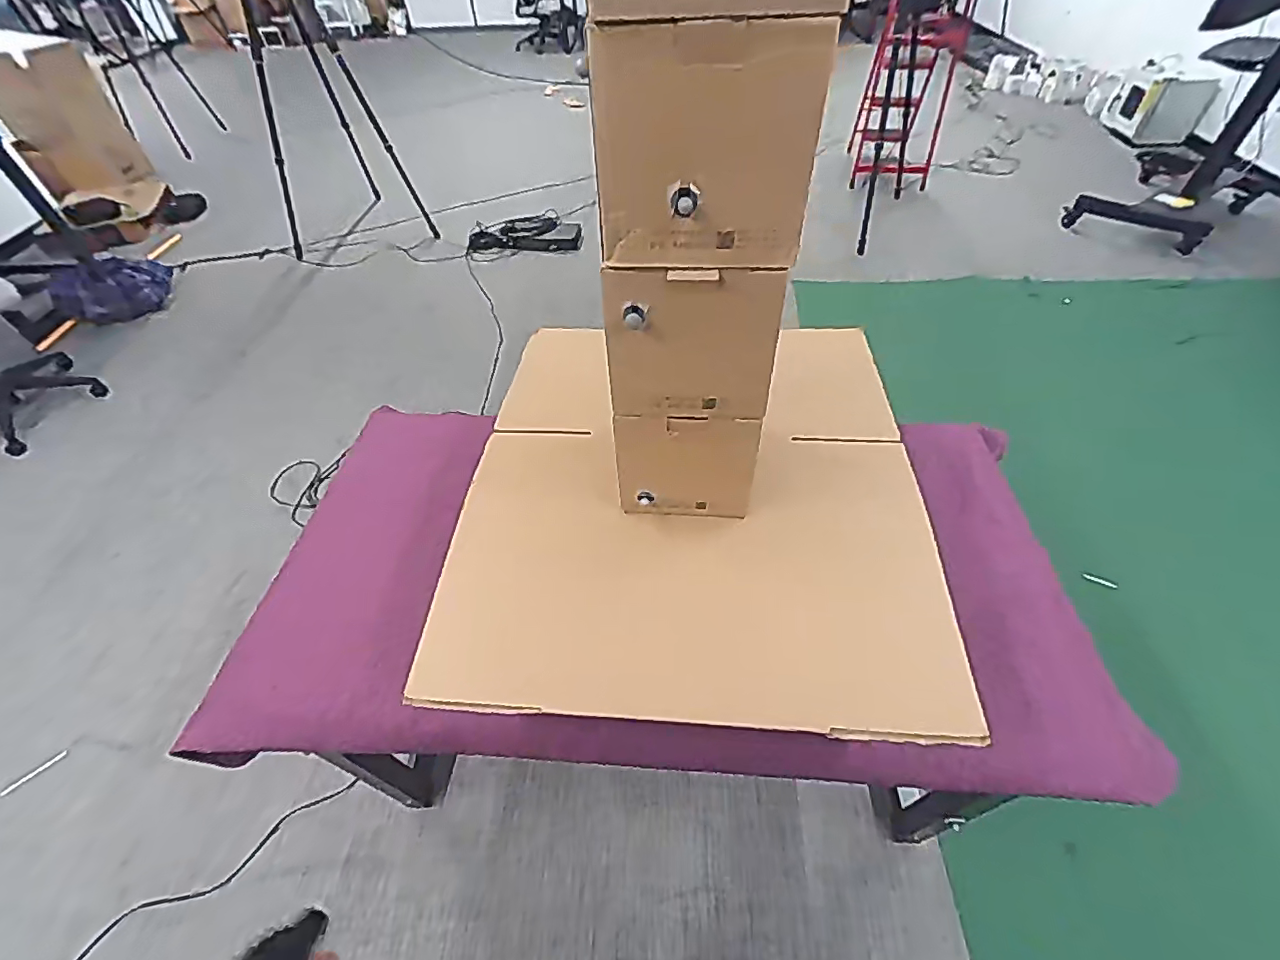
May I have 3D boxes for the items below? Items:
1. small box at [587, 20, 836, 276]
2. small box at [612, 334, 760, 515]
[{"bbox_3d":[0.053,-0.295,0.466,0.168,0.176,0.179,1,47,4],"label":"small box"},{"bbox_3d":[0.062,-0.071,0.703,0.168,0.176,0.179,2,47,5],"label":"small box"}]
